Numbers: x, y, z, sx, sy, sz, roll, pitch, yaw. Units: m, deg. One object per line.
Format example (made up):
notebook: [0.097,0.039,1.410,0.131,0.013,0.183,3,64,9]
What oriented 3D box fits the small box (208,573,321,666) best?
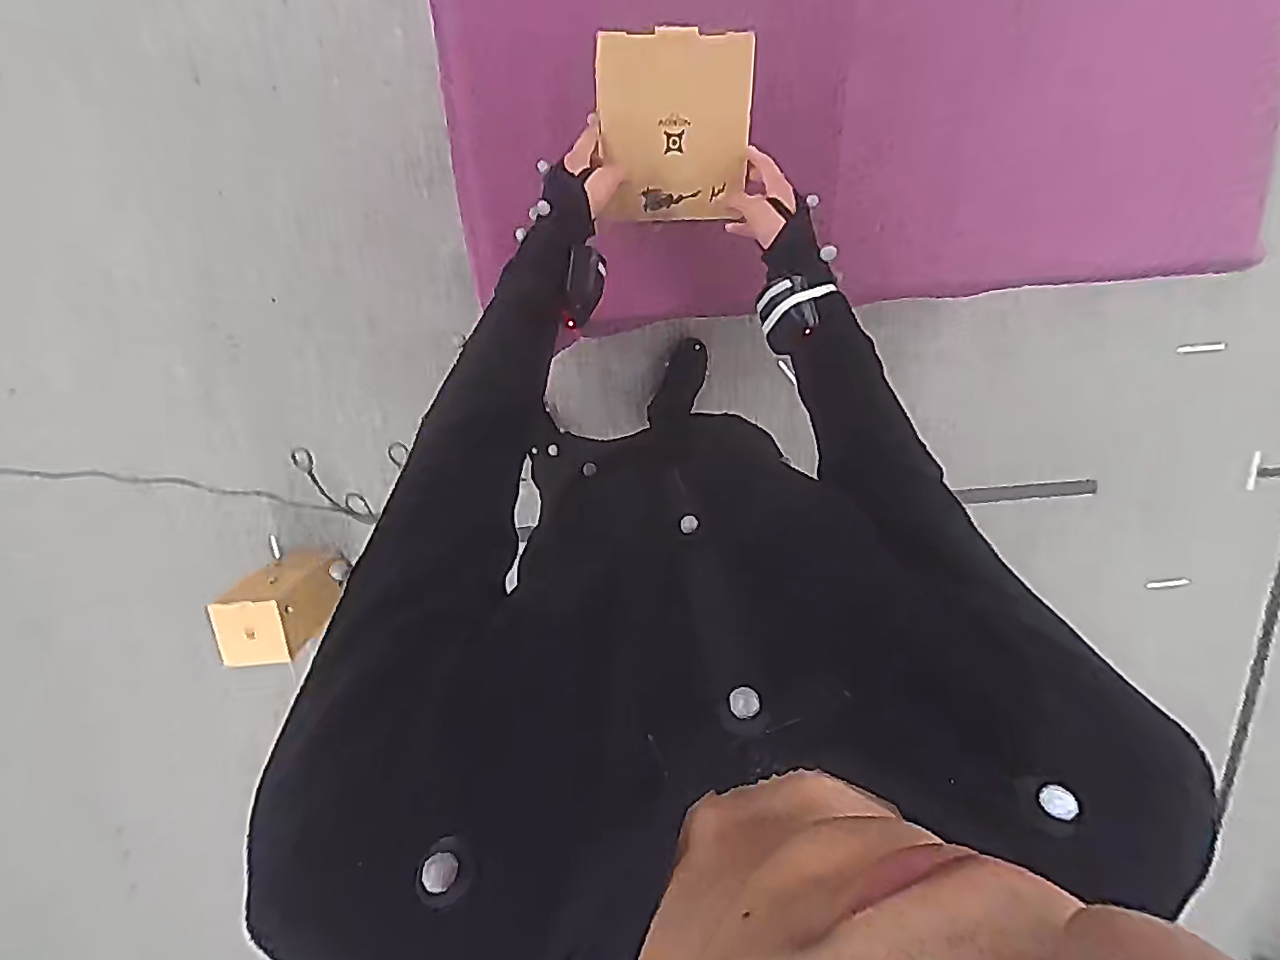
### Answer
small box: [-0.969,0.360,1.416,0.168,0.176,0.179,-3,106,-3]

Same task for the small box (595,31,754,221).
small box: [0.031,-0.419,0.663,0.168,0.176,0.179,-3,120,-4]

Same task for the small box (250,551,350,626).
small box: [-0.982,0.317,1.571,0.179,0.176,0.168,-5,107,-3]
